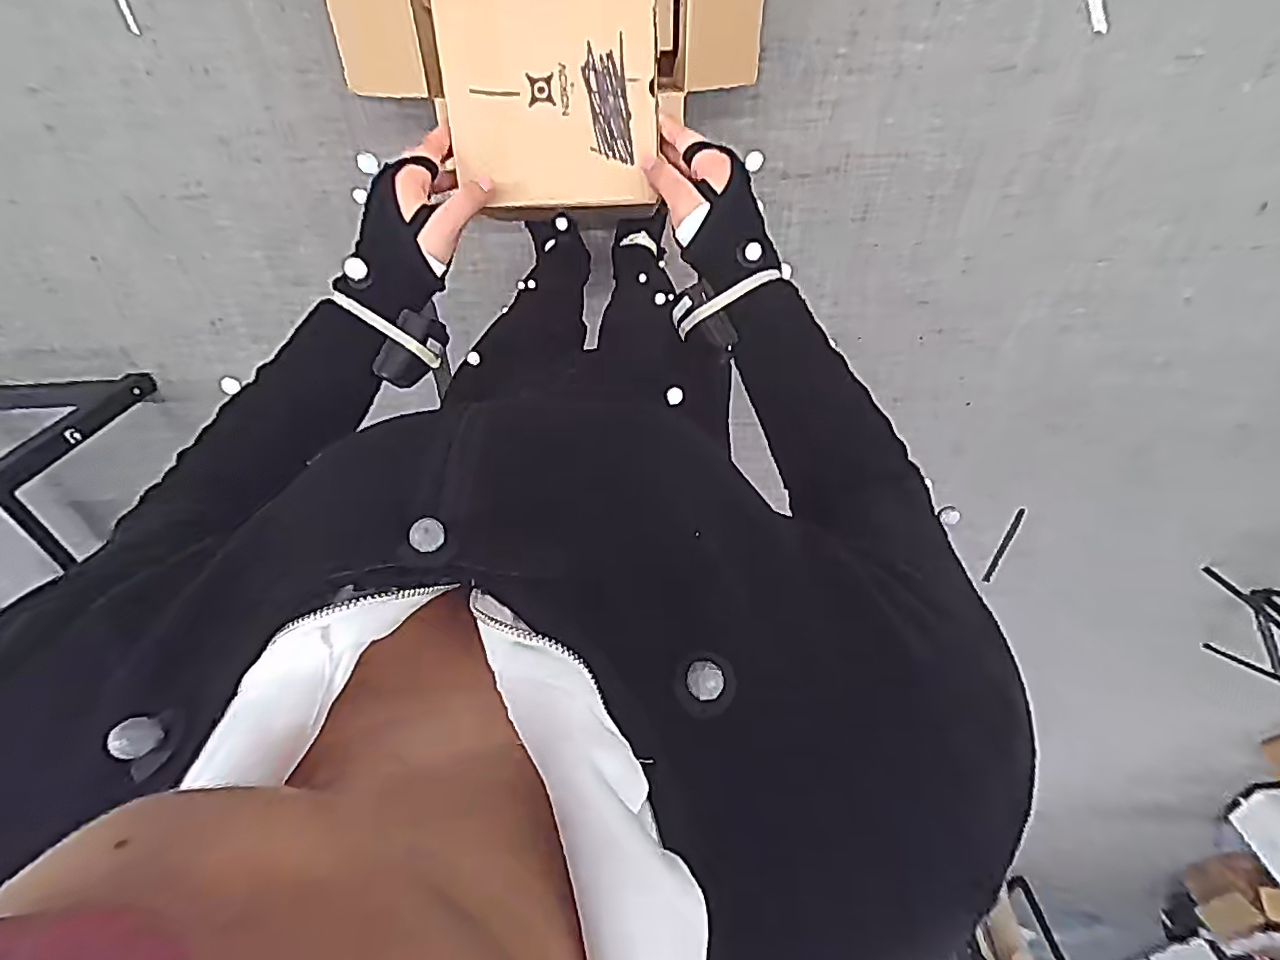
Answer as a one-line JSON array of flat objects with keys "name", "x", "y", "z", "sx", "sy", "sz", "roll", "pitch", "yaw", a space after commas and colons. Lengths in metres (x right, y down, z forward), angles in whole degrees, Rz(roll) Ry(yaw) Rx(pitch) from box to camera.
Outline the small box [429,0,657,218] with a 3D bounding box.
[{"name": "small box", "x": -0.077, "y": -0.347, "z": 0.514, "sx": 0.179, "sy": 0.176, "sz": 0.168, "roll": -2, "pitch": 112, "yaw": 0}]
